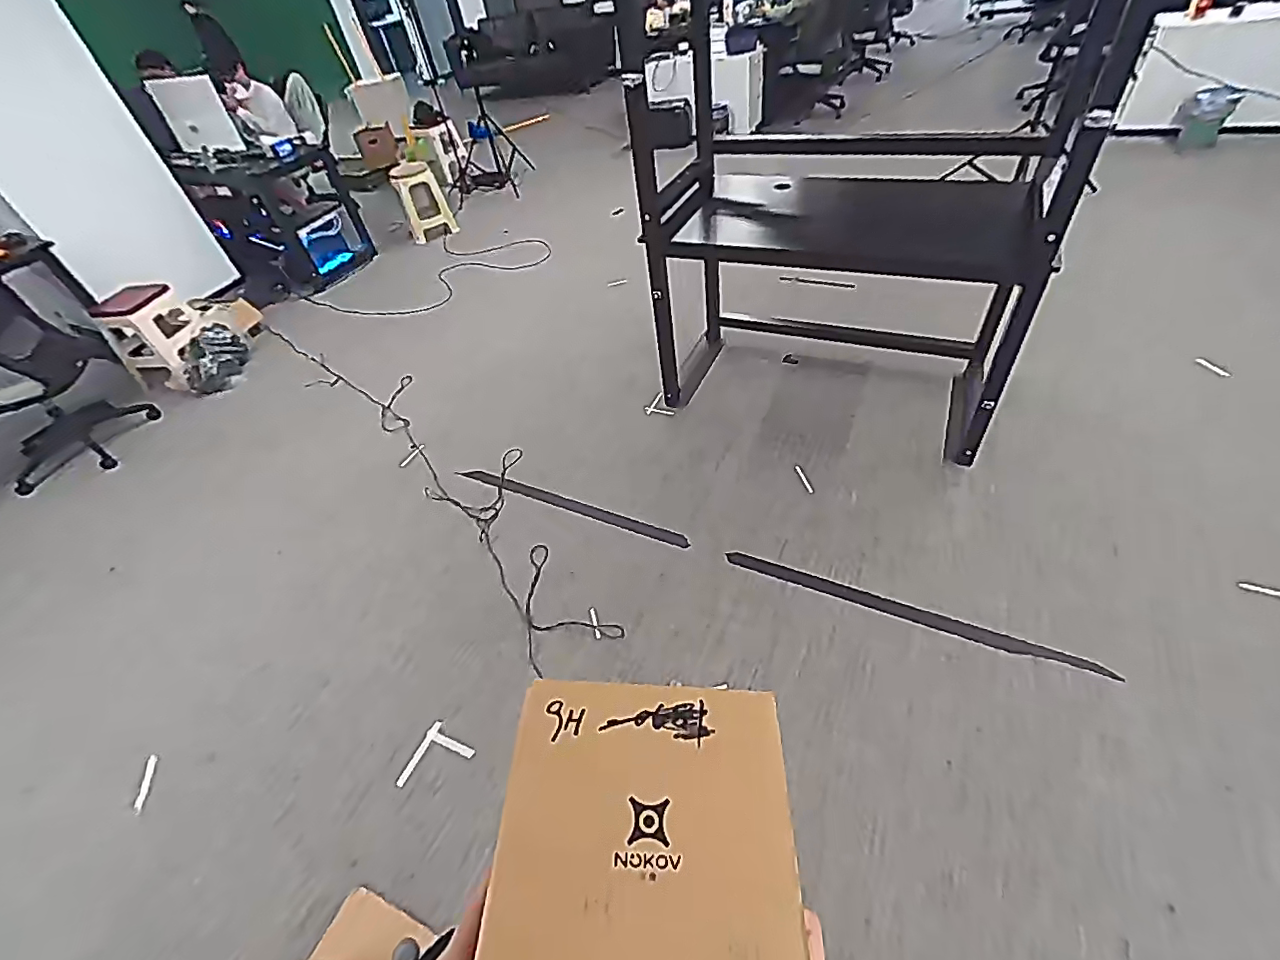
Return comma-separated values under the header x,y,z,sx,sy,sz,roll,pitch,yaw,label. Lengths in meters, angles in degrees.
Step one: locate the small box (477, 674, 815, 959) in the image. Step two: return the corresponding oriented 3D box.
x,y,z,sx,sy,sz,roll,pitch,yaw,label
0.003,0.249,0.351,0.168,0.176,0.179,4,47,0,small box
